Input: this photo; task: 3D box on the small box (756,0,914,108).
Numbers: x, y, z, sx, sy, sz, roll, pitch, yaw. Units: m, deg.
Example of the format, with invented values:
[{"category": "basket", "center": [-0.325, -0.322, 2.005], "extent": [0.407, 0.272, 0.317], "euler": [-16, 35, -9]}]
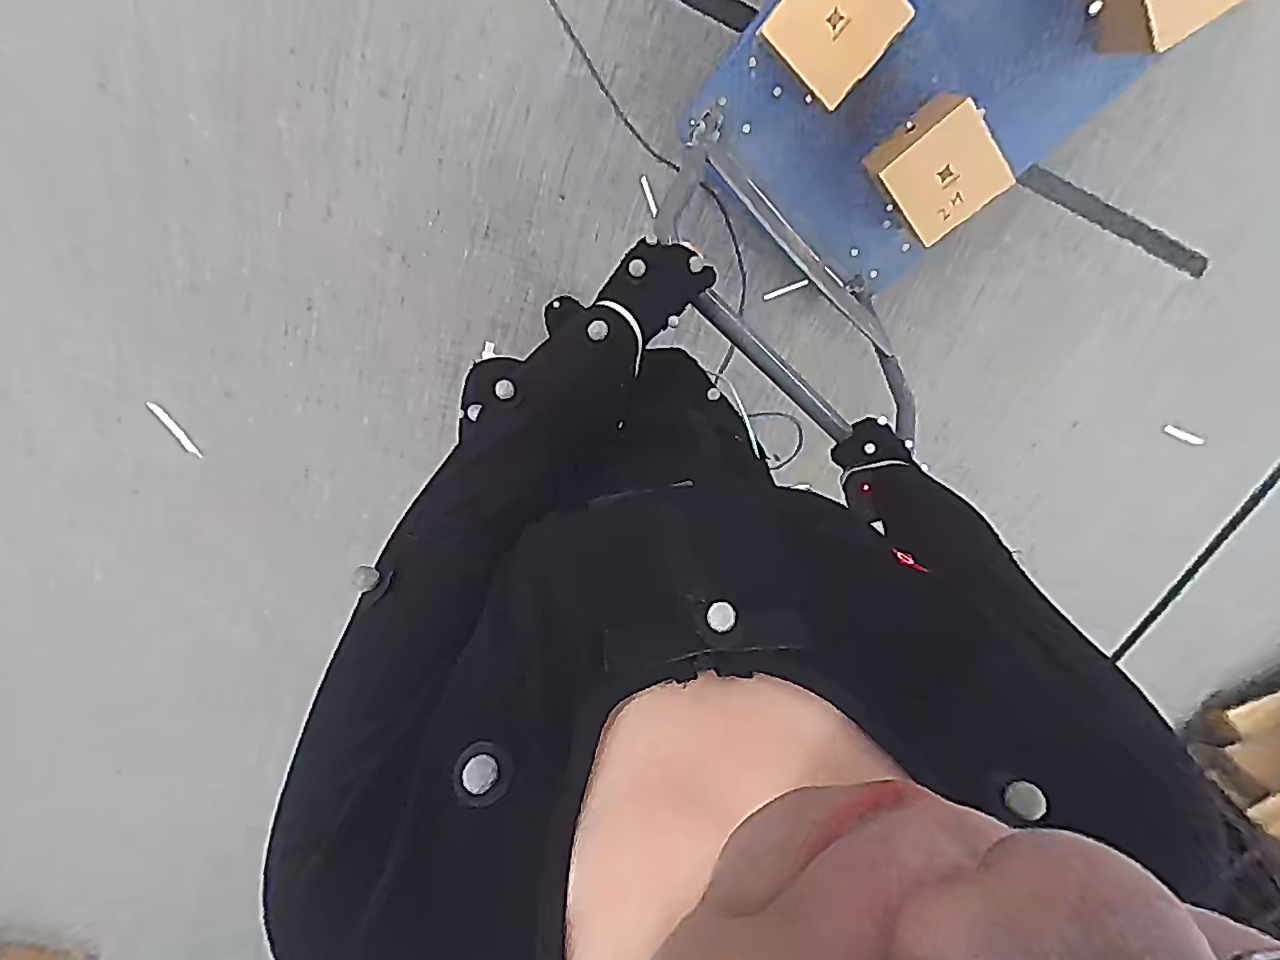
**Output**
[{"category": "small box", "center": [0.315, -0.769, 0.912], "extent": [0.179, 0.176, 0.168], "euler": [34, 124, -19]}]

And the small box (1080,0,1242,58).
[{"category": "small box", "center": [0.818, -0.792, 0.824], "extent": [0.179, 0.176, 0.168], "euler": [-28, 118, 27]}]

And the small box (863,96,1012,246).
[{"category": "small box", "center": [0.548, -0.582, 1.021], "extent": [0.168, 0.176, 0.179], "euler": [-35, 115, 29]}]
